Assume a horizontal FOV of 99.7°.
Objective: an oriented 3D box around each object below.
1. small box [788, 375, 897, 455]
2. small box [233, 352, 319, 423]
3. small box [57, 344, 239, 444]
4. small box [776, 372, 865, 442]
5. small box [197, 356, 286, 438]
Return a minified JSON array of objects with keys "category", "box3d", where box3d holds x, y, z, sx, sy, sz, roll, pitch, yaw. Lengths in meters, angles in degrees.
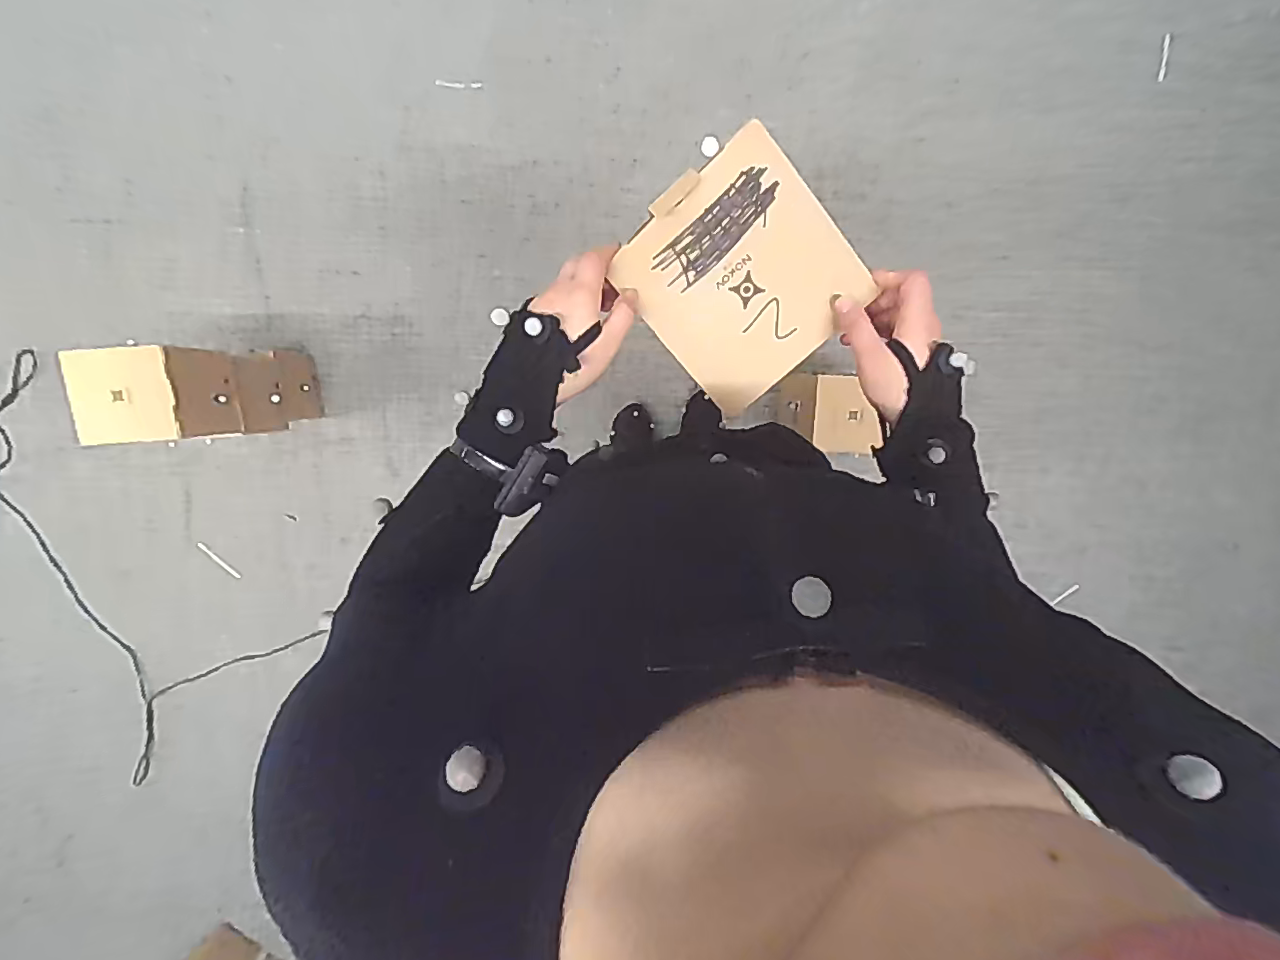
[{"category":"small box","box3d":[0.450,-0.149,1.224,0.179,0.176,0.168,2,98,-1]},{"category":"small box","box3d":[-0.926,-0.221,1.335,0.179,0.176,0.168,-7,98,0]},{"category":"small box","box3d":[-0.908,-0.159,1.015,0.179,0.176,0.168,-5,99,-2]},{"category":"small box","box3d":[0.455,-0.180,1.384,0.168,0.176,0.179,2,99,-2]},{"category":"small box","box3d":[-0.917,-0.178,1.176,0.179,0.176,0.168,-4,99,-2]}]
